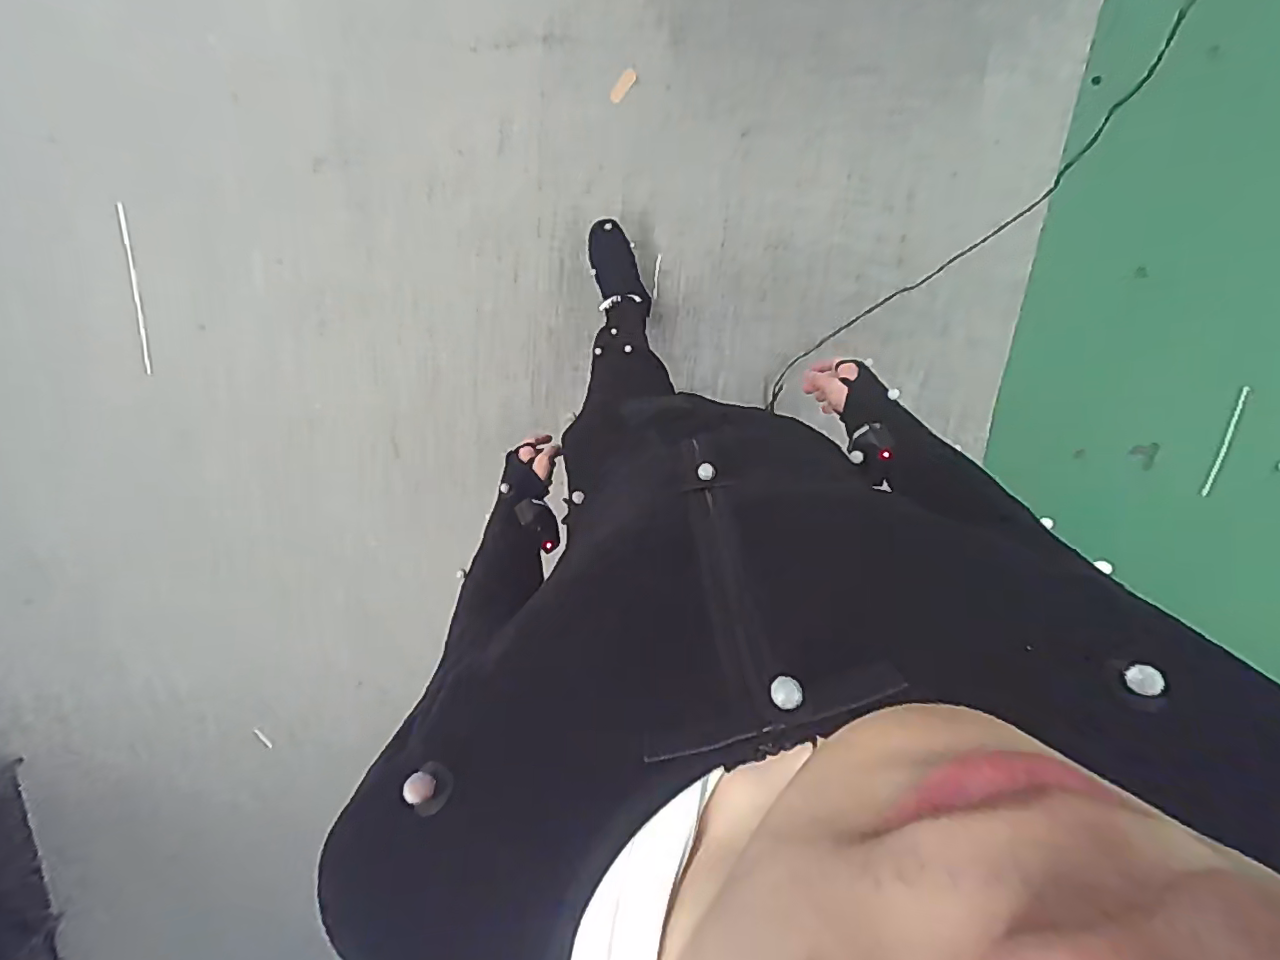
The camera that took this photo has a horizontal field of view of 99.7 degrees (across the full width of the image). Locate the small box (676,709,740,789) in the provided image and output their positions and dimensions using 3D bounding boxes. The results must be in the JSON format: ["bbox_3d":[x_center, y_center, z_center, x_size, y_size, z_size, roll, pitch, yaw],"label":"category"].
[{"bbox_3d":[0.218,0.882,1.778,0.179,0.176,0.168,10,105,2],"label":"small box"}]

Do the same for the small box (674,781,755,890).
[{"bbox_3d":[0.194,0.950,1.458,0.179,0.176,0.168,13,105,1],"label":"small box"}]
